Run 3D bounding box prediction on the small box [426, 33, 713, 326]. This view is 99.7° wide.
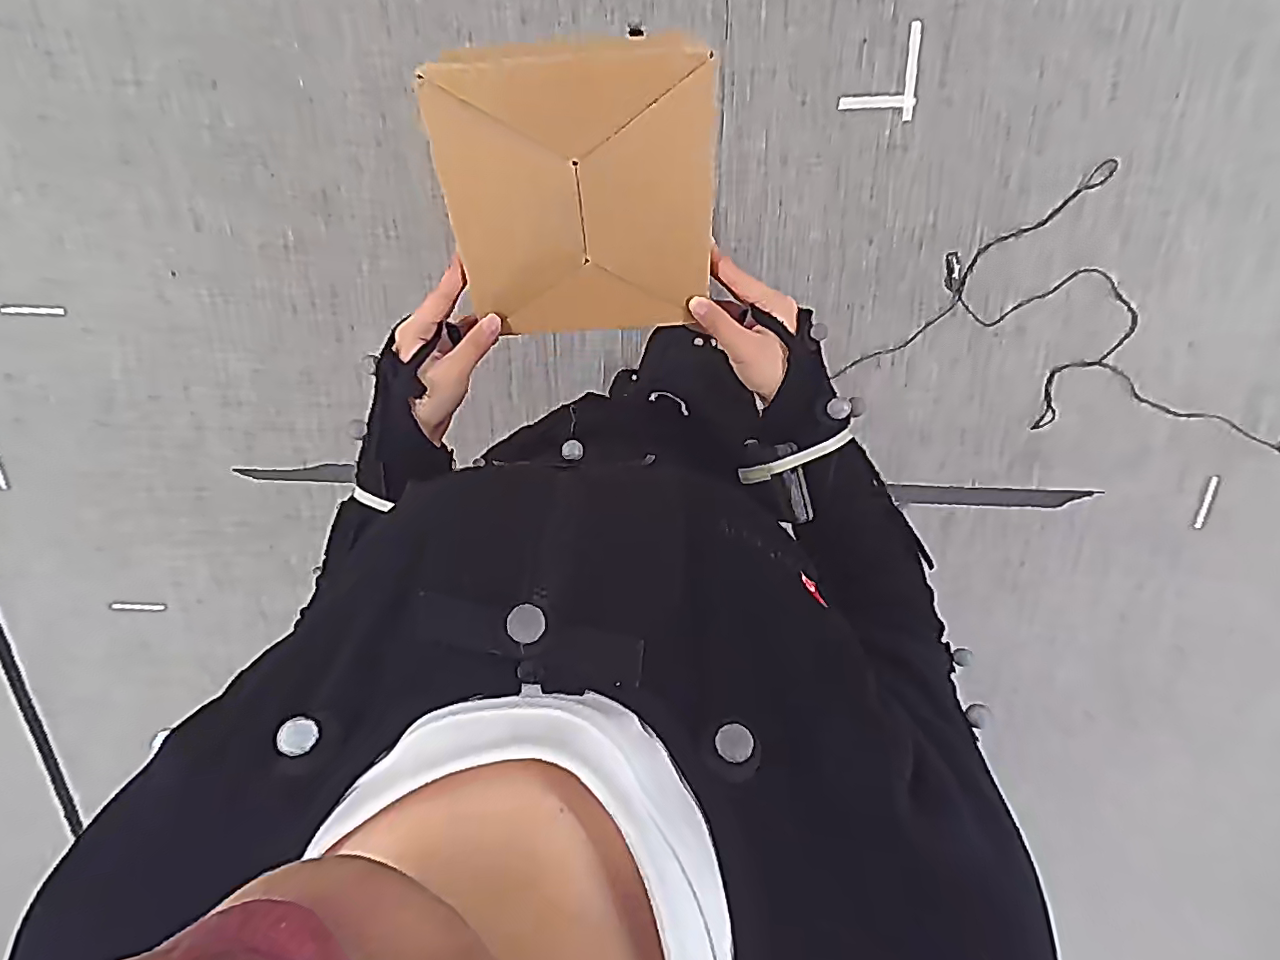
[{"bbox_3d":[-0.044,-0.234,0.422,0.179,0.176,0.168,-3,133,0],"label":"small box"}]
